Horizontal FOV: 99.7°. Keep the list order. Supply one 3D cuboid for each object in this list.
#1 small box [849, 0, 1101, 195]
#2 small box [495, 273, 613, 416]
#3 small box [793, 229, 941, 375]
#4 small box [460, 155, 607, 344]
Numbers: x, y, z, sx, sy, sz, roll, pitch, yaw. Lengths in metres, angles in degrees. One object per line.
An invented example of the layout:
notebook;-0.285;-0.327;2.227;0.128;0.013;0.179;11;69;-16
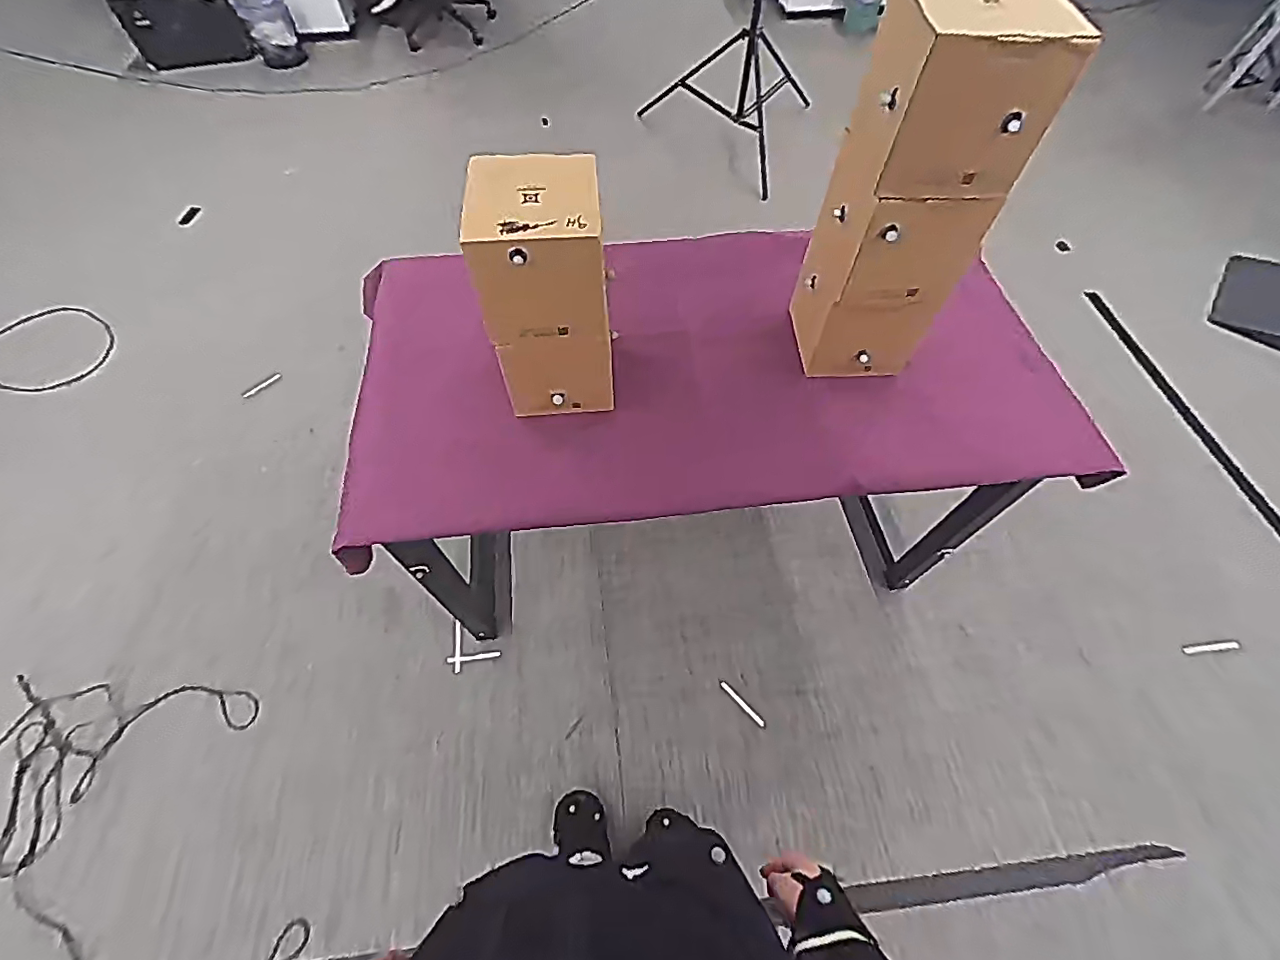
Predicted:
small box;0.366;-0.459;0.634;0.168;0.176;0.179;1;58;-1
small box;-0.131;-0.224;0.873;0.168;0.176;0.179;-5;61;-3
small box;0.369;-0.299;0.919;0.168;0.176;0.179;-2;60;0
small box;-0.132;-0.307;0.731;0.168;0.176;0.179;-4;59;-2
